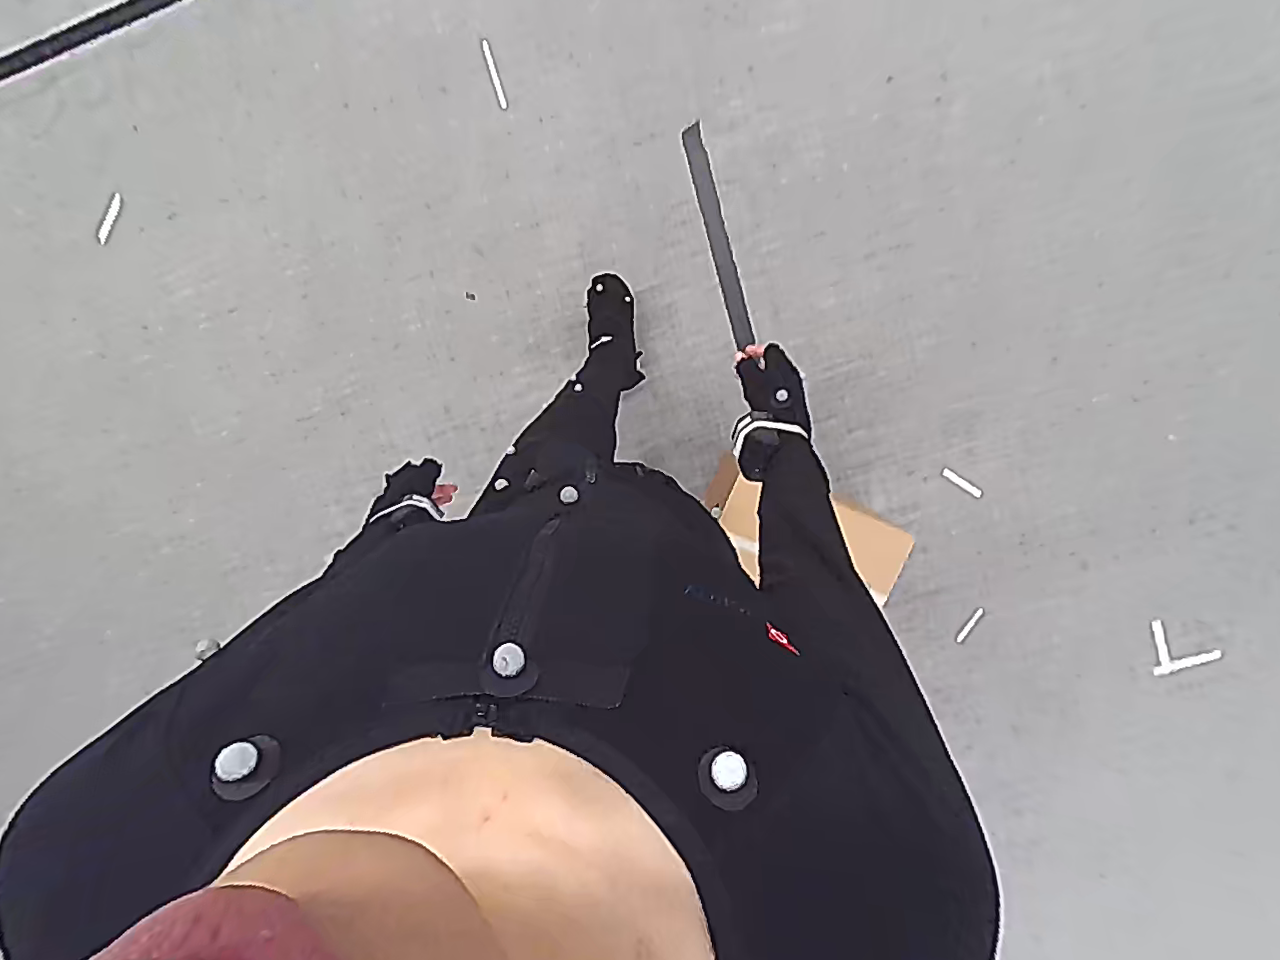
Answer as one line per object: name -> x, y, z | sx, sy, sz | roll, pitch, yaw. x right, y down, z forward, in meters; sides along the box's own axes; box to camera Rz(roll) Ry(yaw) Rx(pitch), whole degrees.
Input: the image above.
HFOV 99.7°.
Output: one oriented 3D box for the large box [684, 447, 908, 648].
large box -> 0.349, 0.144, 1.327 | 0.408, 0.320, 0.320 | 22, 100, -1
